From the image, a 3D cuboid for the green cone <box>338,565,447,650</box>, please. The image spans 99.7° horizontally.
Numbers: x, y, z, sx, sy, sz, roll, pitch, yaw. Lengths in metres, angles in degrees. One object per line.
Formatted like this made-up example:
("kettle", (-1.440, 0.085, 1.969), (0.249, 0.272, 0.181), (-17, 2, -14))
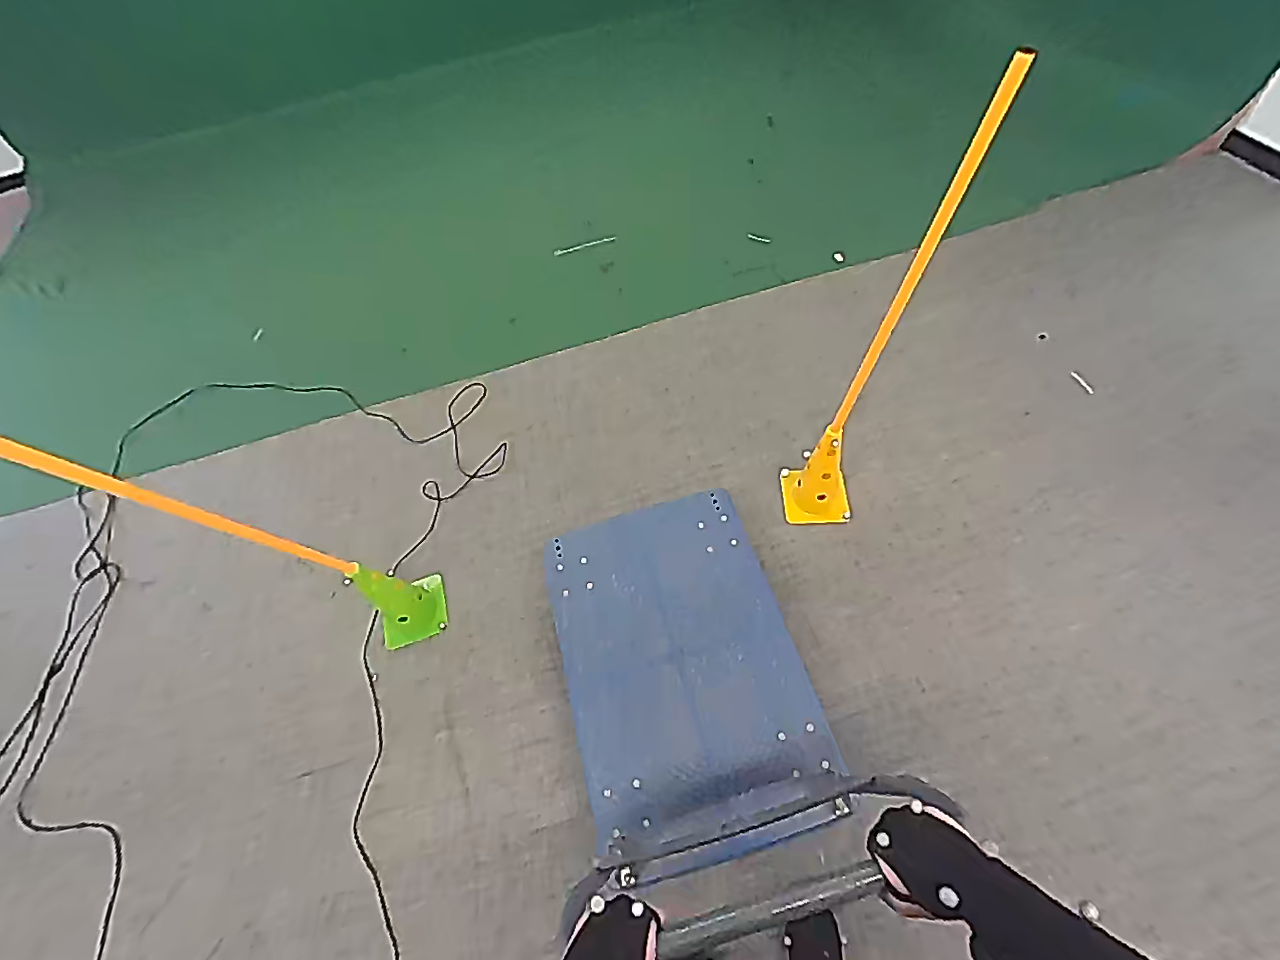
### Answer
("green cone", (-0.742, 0.327, 1.567), (0.202, 0.368, 0.200), (-21, 57, -3))
